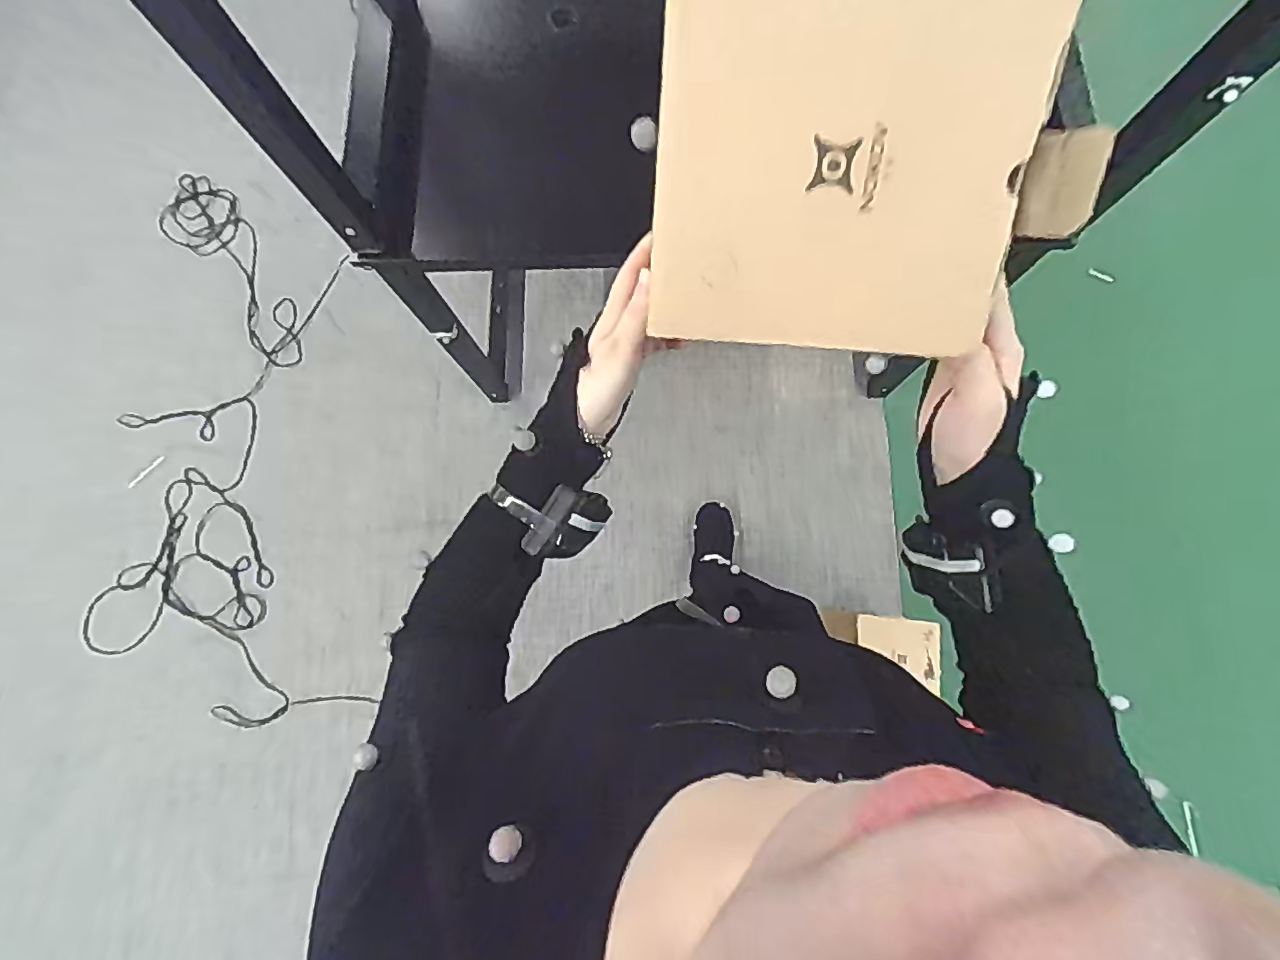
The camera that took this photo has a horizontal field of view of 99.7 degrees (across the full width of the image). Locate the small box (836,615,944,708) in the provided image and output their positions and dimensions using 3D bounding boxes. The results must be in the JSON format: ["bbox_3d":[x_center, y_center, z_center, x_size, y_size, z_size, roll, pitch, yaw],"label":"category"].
[{"bbox_3d":[0.545,0.394,1.197,0.179,0.176,0.168,6,78,4],"label":"small box"}]

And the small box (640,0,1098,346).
[{"bbox_3d":[0.094,-0.175,0.307,0.179,0.176,0.168,3,113,0],"label":"small box"}]
